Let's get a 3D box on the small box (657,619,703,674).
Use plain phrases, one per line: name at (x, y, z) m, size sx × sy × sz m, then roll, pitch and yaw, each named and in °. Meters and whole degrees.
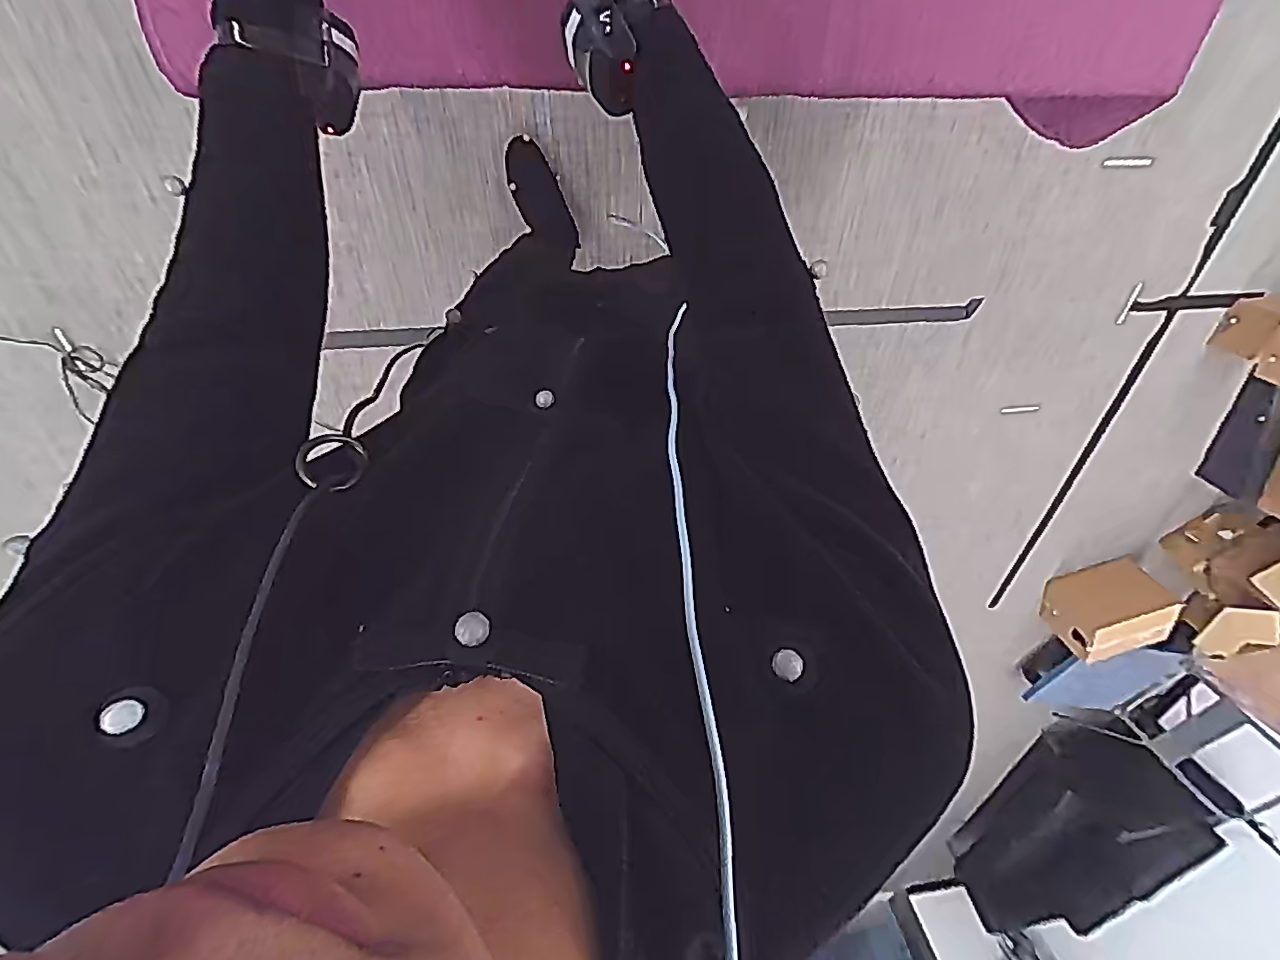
small box at (0.176, 0.748, 2.450) m, size 0.168 × 0.176 × 0.179 m, roll -5°, pitch 129°, yaw -9°
